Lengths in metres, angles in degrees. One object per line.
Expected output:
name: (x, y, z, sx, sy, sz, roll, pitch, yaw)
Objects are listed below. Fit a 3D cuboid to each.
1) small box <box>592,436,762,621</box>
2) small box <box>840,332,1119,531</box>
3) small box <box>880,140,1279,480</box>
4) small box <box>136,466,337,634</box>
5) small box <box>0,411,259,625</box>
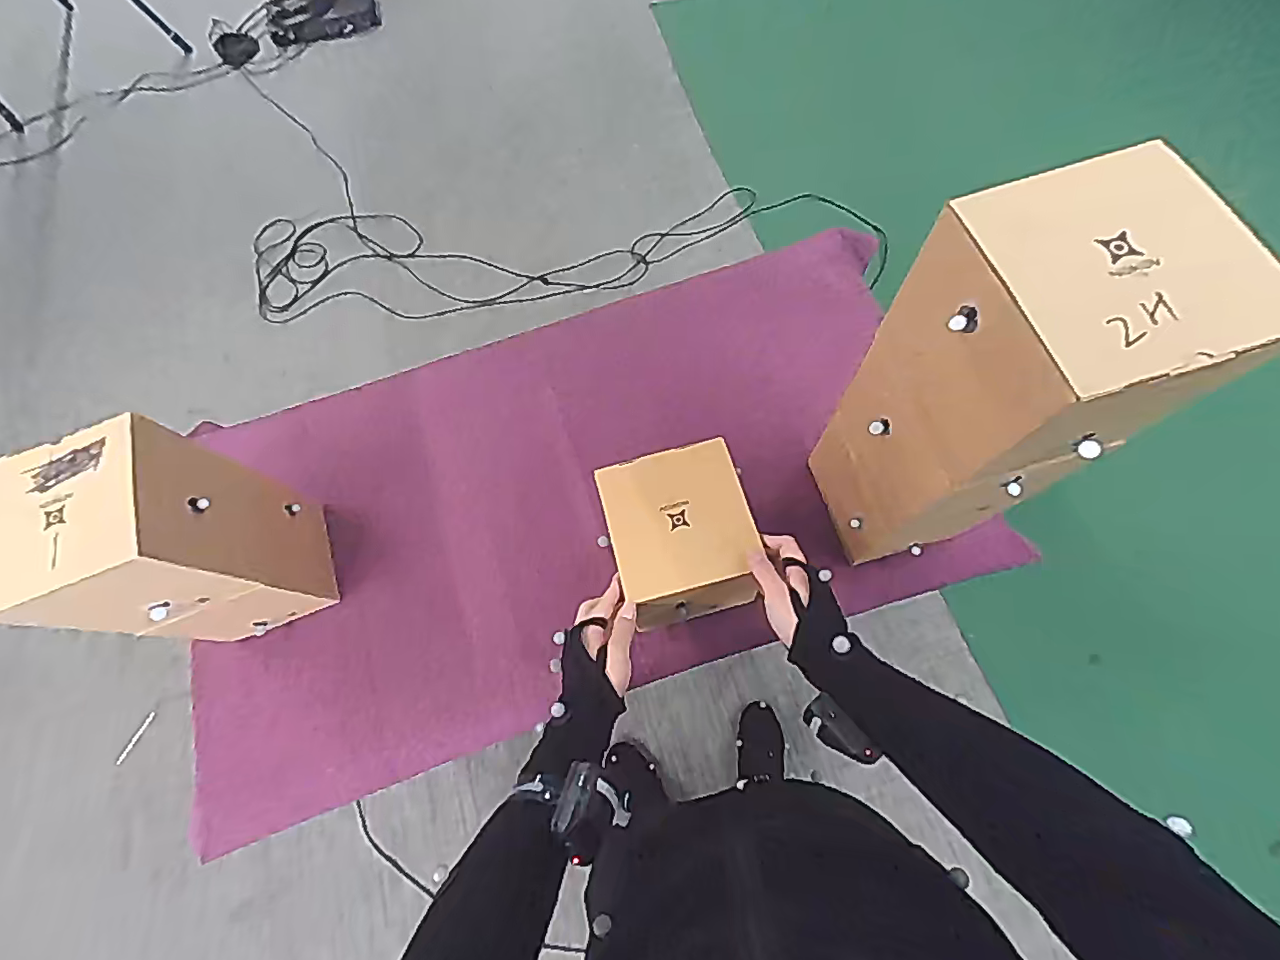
small box: (0.047, 0.074, 0.700, 0.168, 0.176, 0.179, -15, 64, -1)
small box: (0.341, -0.063, 0.592, 0.168, 0.176, 0.179, -16, 69, 0)
small box: (0.325, -0.122, 0.438, 0.168, 0.176, 0.179, -16, 70, 0)
small box: (-0.572, 0.109, 0.778, 0.168, 0.176, 0.179, -21, 71, -3)
small box: (-0.584, 0.053, 0.625, 0.168, 0.176, 0.179, -22, 71, -3)
